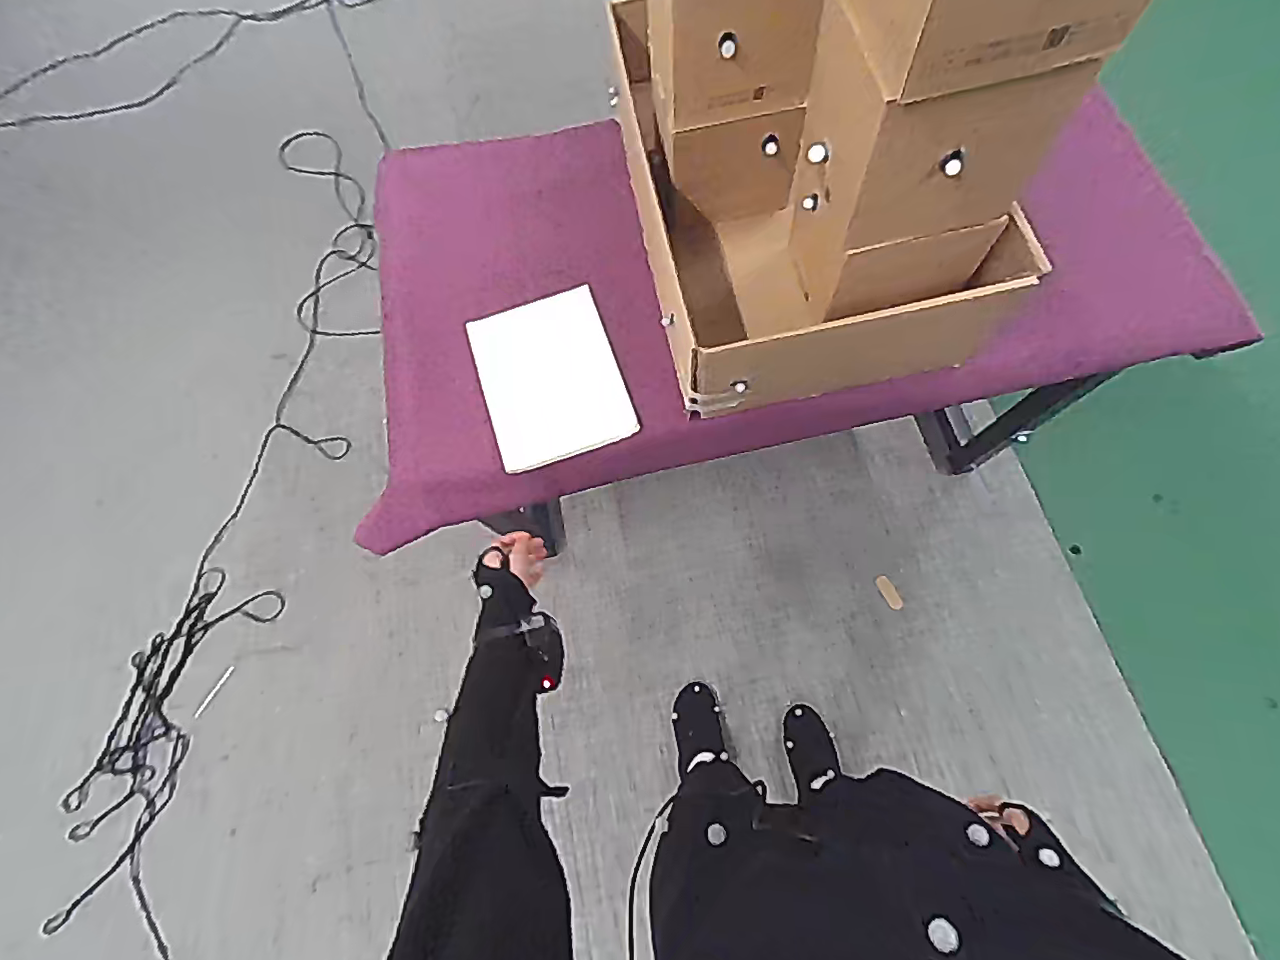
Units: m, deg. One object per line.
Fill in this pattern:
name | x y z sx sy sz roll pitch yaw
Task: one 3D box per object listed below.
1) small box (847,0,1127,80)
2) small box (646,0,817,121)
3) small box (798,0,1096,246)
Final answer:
small box | 0.253 -0.415 0.372 0.168 0.176 0.179 -10 69 3
small box | 0.097 -0.544 0.611 0.168 0.176 0.179 -11 72 2
small box | 0.269 -0.363 0.526 0.179 0.176 0.168 -11 69 4
